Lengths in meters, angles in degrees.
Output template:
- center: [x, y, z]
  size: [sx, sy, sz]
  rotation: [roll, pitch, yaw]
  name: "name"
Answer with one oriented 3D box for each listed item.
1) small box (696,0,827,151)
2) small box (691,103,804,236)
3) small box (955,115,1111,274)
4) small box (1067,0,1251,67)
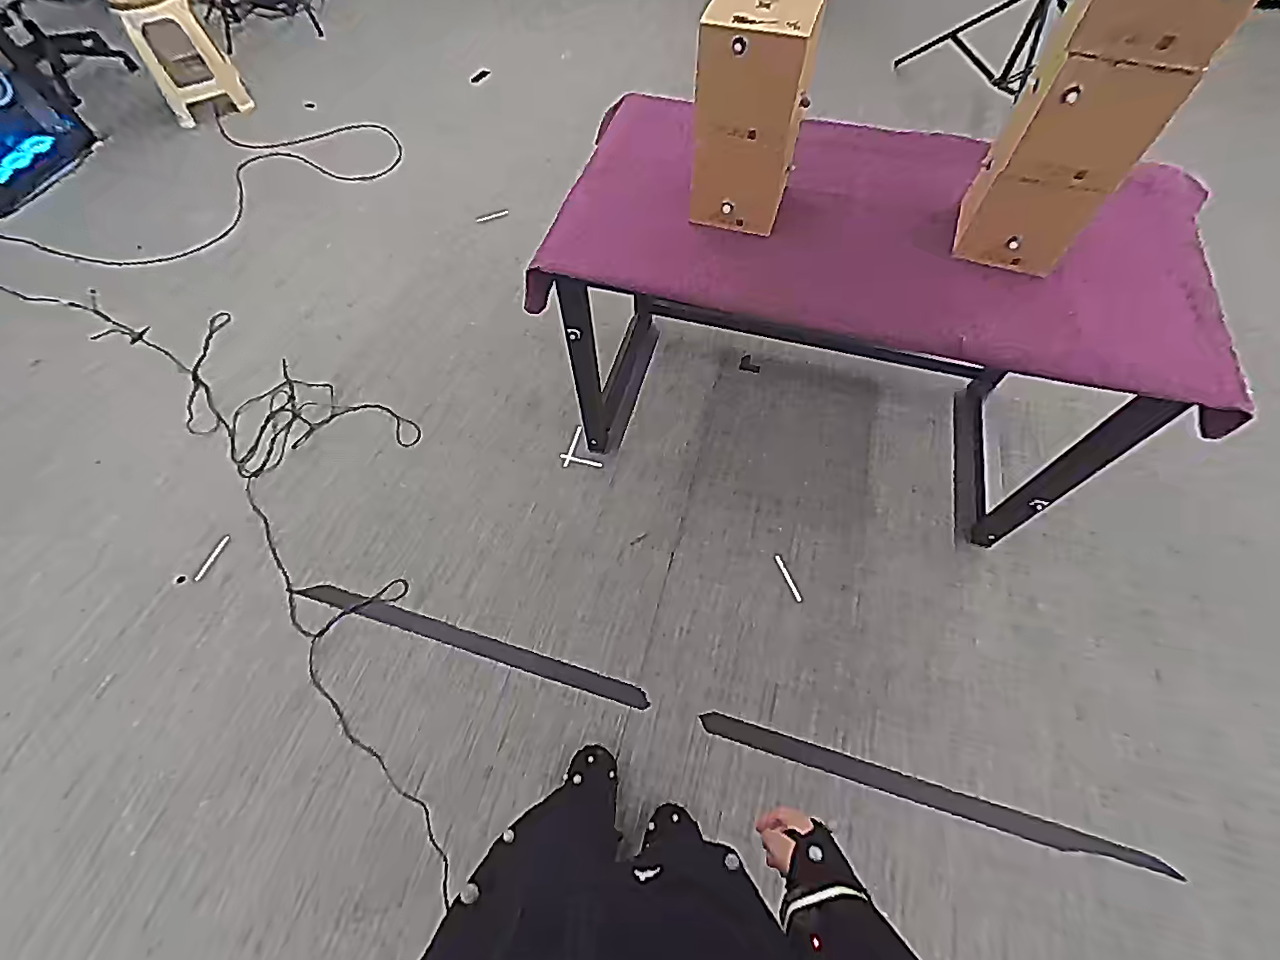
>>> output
- center: [0.193, -0.683, 0.890]
  size: [0.168, 0.176, 0.179]
  rotation: [16, 63, 10]
  name: "small box"
- center: [0.198, -0.604, 1.034]
  size: [0.168, 0.176, 0.179]
  rotation: [15, 64, 10]
  name: "small box"
- center: [0.692, -0.505, 0.965]
  size: [0.168, 0.176, 0.179]
  rotation: [19, 64, 12]
  name: "small box"
- center: [0.677, -0.658, 0.676]
  size: [0.168, 0.176, 0.179]
  rotation: [21, 63, 12]
  name: "small box"
